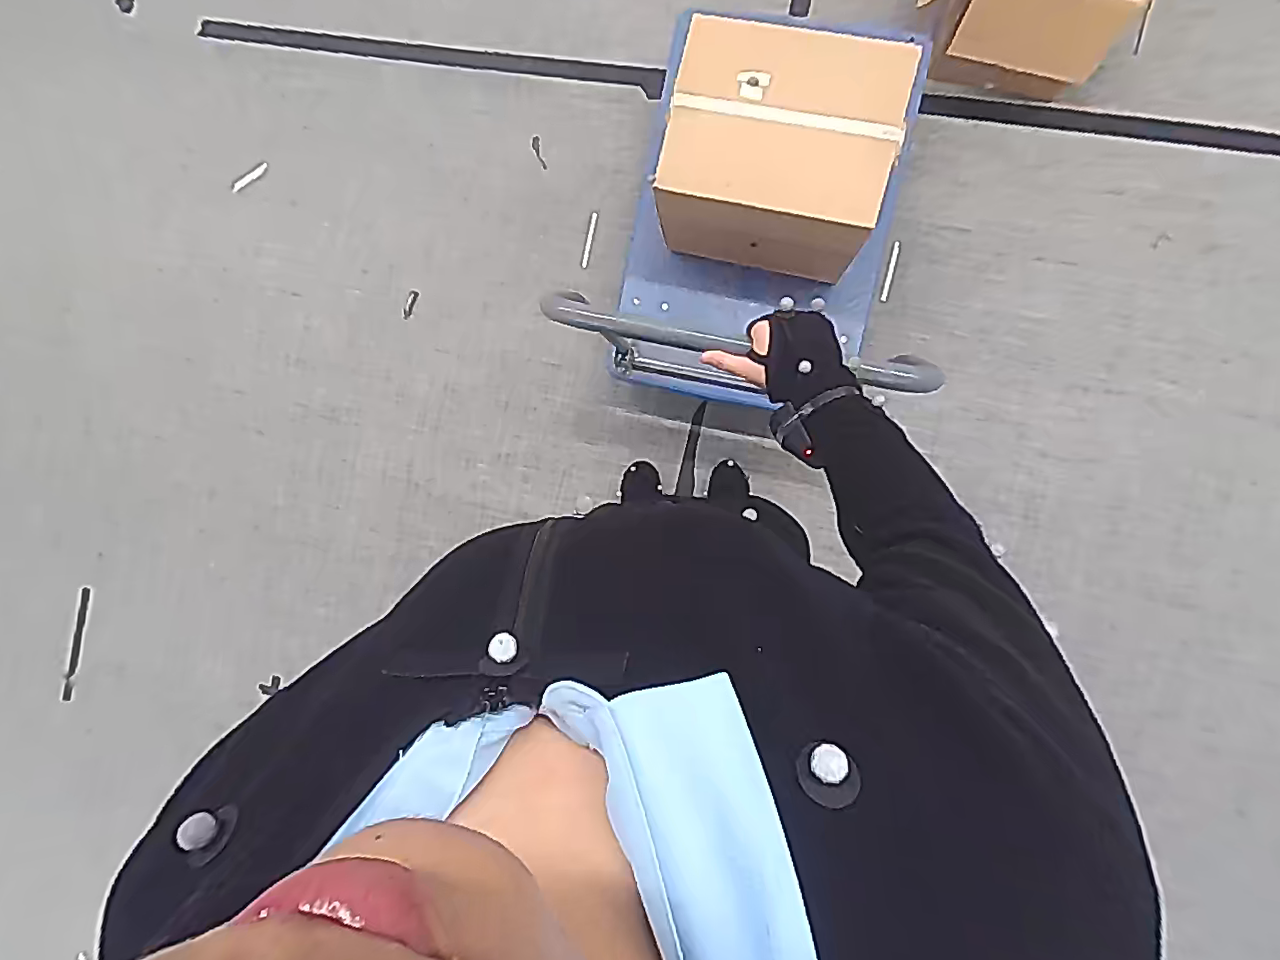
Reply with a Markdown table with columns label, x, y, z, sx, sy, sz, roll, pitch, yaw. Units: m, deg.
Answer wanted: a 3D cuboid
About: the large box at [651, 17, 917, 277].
| label | x | y | z | sx | sy | sz | roll | pitch | yaw |
| --- | --- | --- | --- | --- | --- | --- | --- | --- | --- |
| large box | 0.268 | -0.639 | 1.091 | 0.408 | 0.320 | 0.320 | 14 | 93 | 8 |
